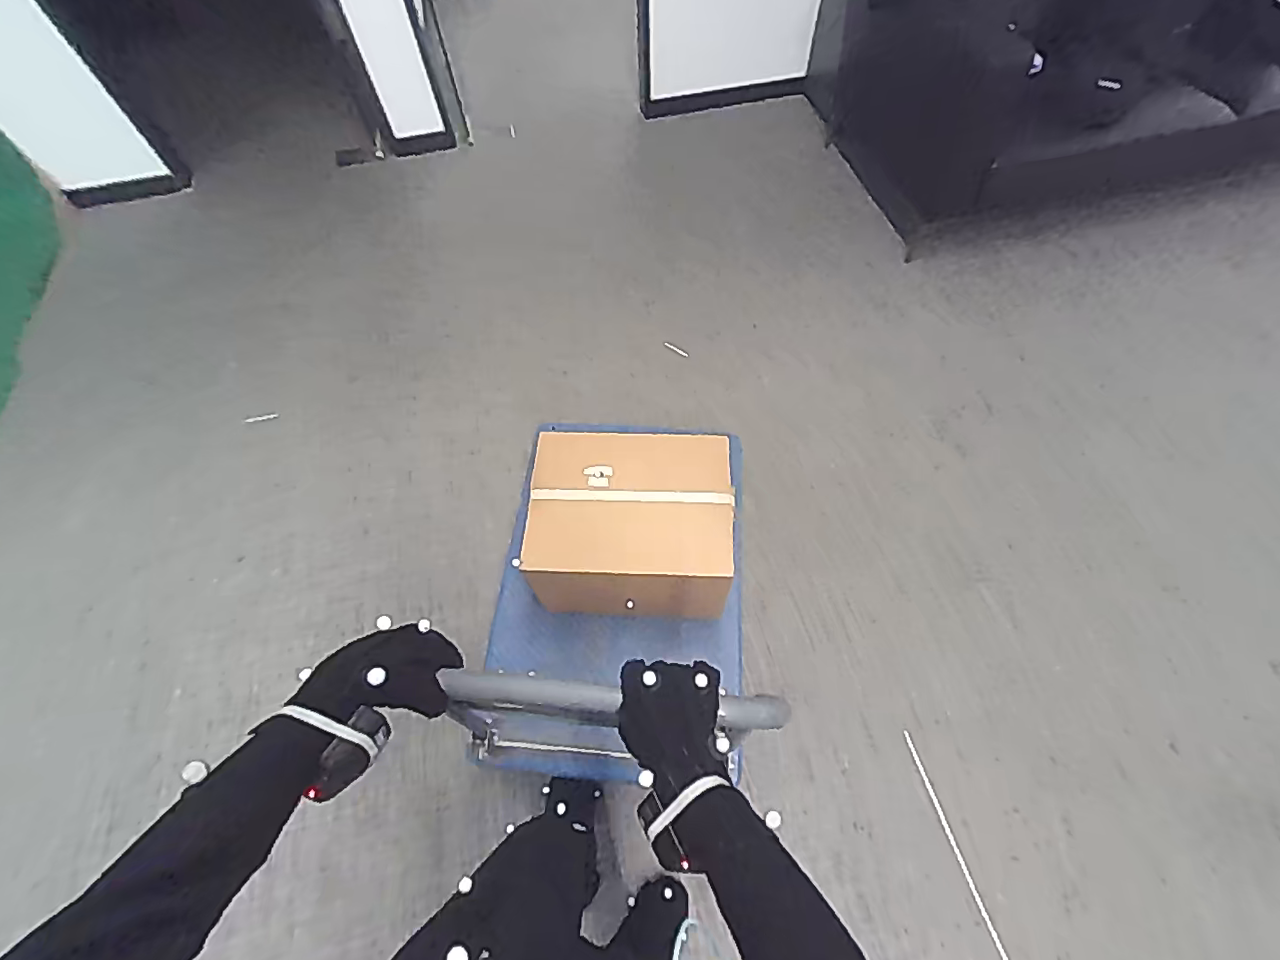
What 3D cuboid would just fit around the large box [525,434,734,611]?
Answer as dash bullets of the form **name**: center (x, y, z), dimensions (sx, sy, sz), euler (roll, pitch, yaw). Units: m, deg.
- **large box**: center (-0.010, 0.107, 1.222), dimensions (0.408, 0.320, 0.320), euler (1, 61, 3)
